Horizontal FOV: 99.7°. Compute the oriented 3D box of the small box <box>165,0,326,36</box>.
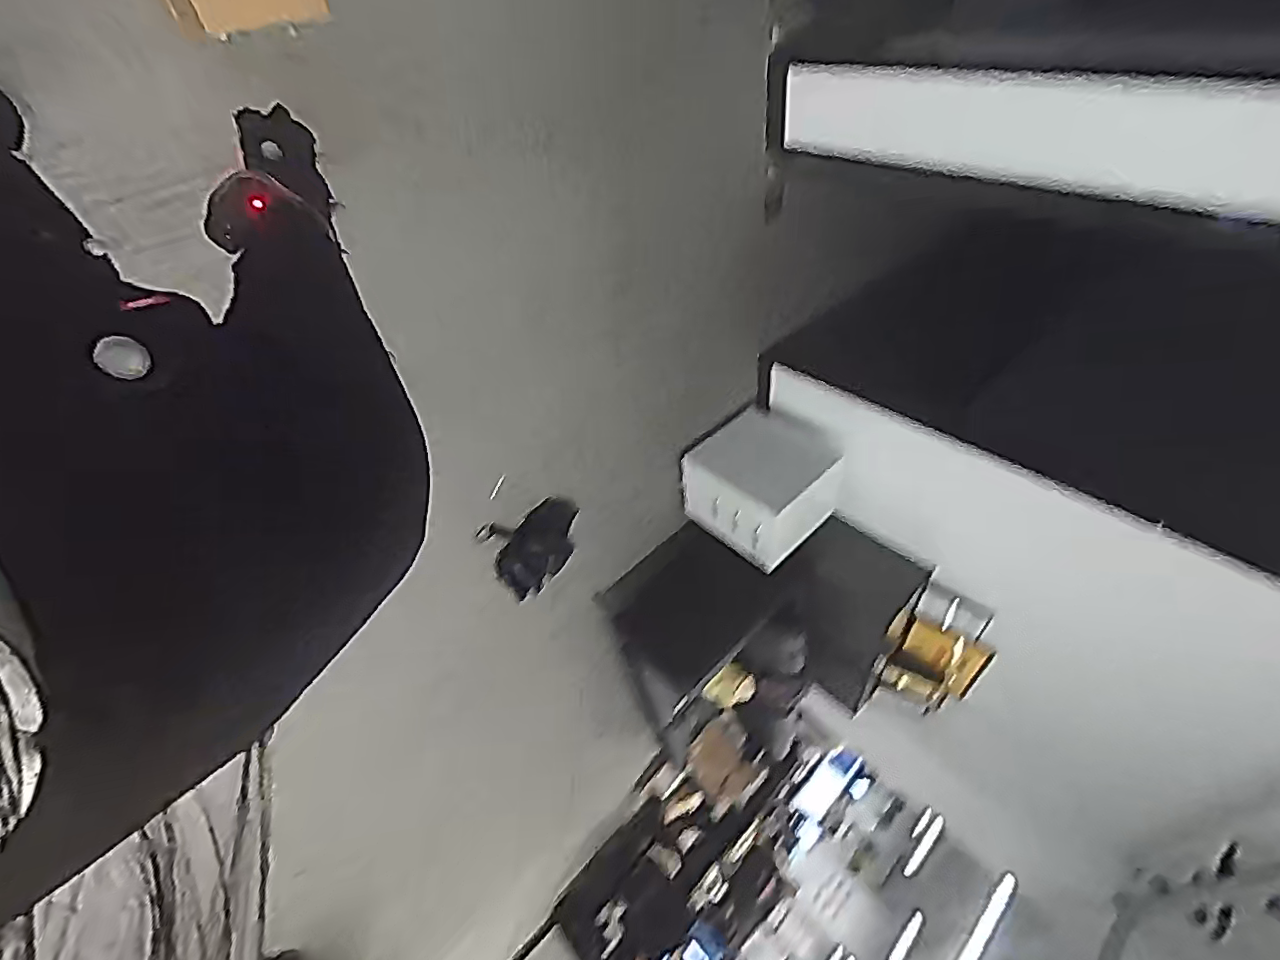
[{"bbox_3d":[-0.599,-0.756,0.773,0.179,0.176,0.168,-36,139,-24],"label":"small box"}]
